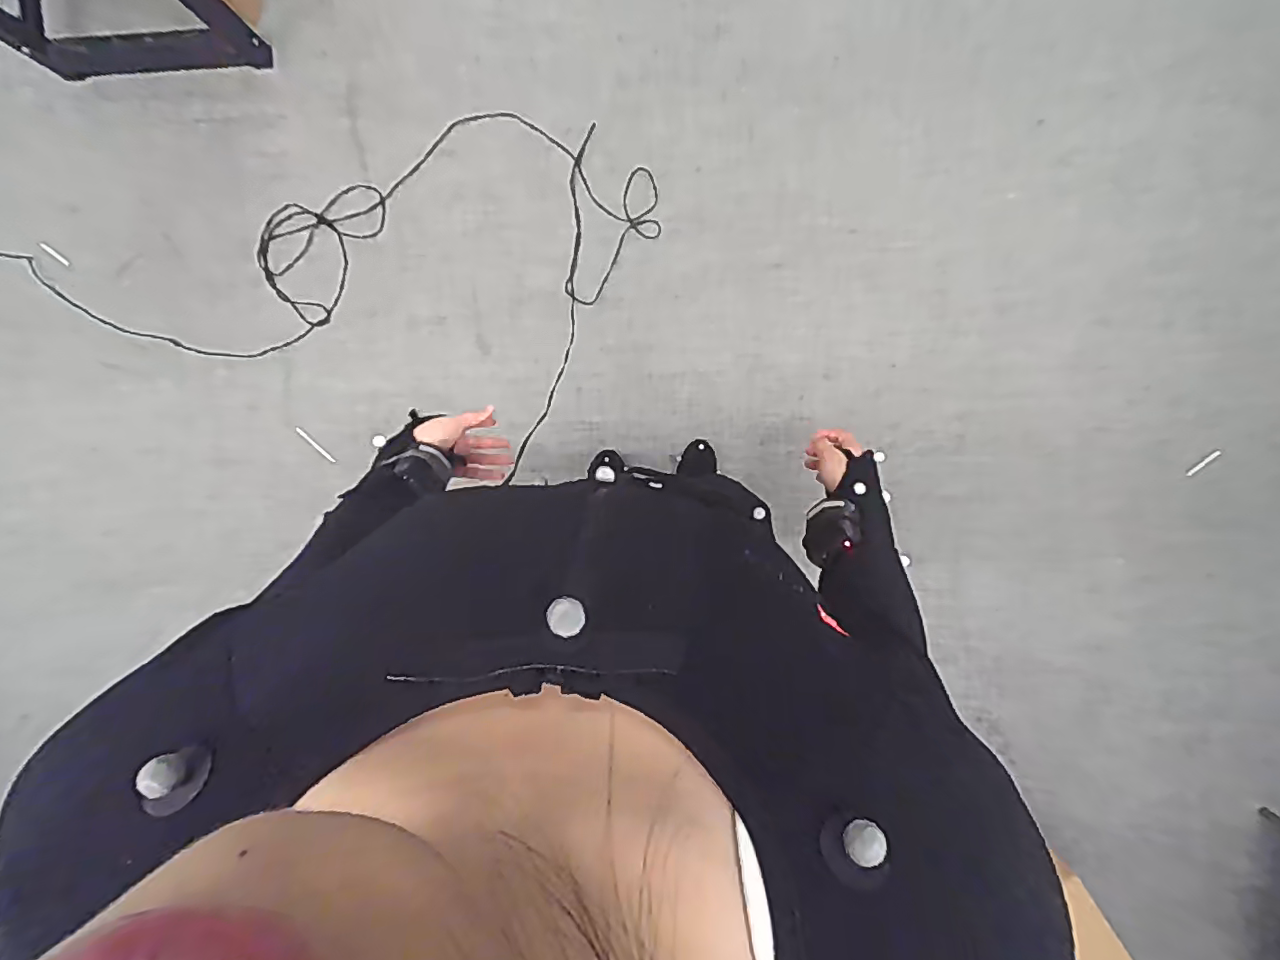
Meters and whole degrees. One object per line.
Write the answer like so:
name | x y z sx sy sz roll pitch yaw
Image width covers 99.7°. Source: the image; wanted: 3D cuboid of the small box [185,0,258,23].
small box | -1.076 -1.287 1.335 0.168 0.176 0.179 11 96 1
